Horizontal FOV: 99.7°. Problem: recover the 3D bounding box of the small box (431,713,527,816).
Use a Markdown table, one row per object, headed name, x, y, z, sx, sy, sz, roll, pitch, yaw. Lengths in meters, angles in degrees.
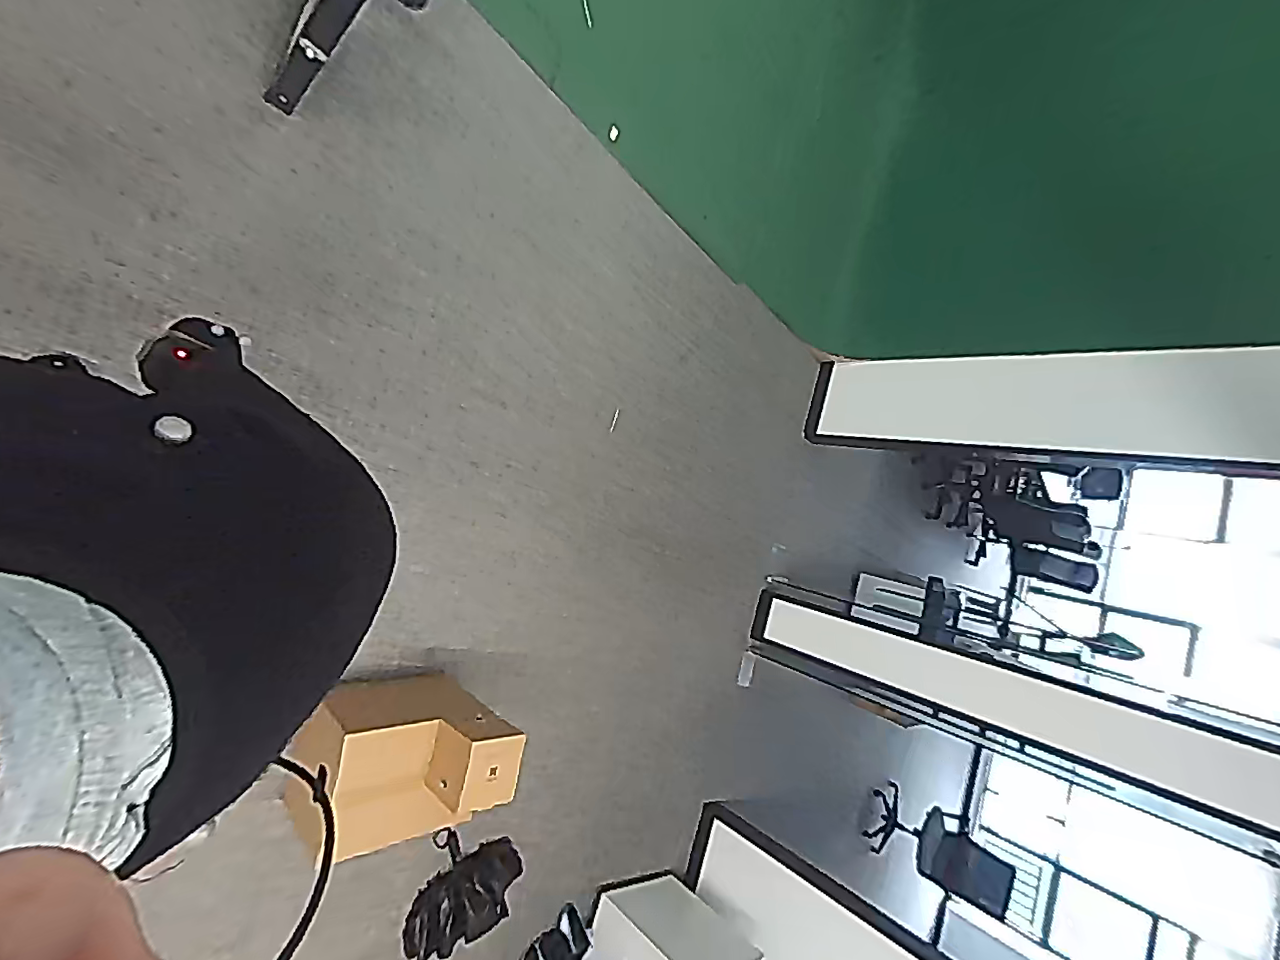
| name | x | y | z | sx | sy | sz | roll | pitch | yaw |
| --- | --- | --- | --- | --- | --- | --- | --- | --- | --- |
| small box | -0.426 | 0.735 | 1.418 | 0.168 | 0.176 | 0.179 | 17 | 80 | -47 |
